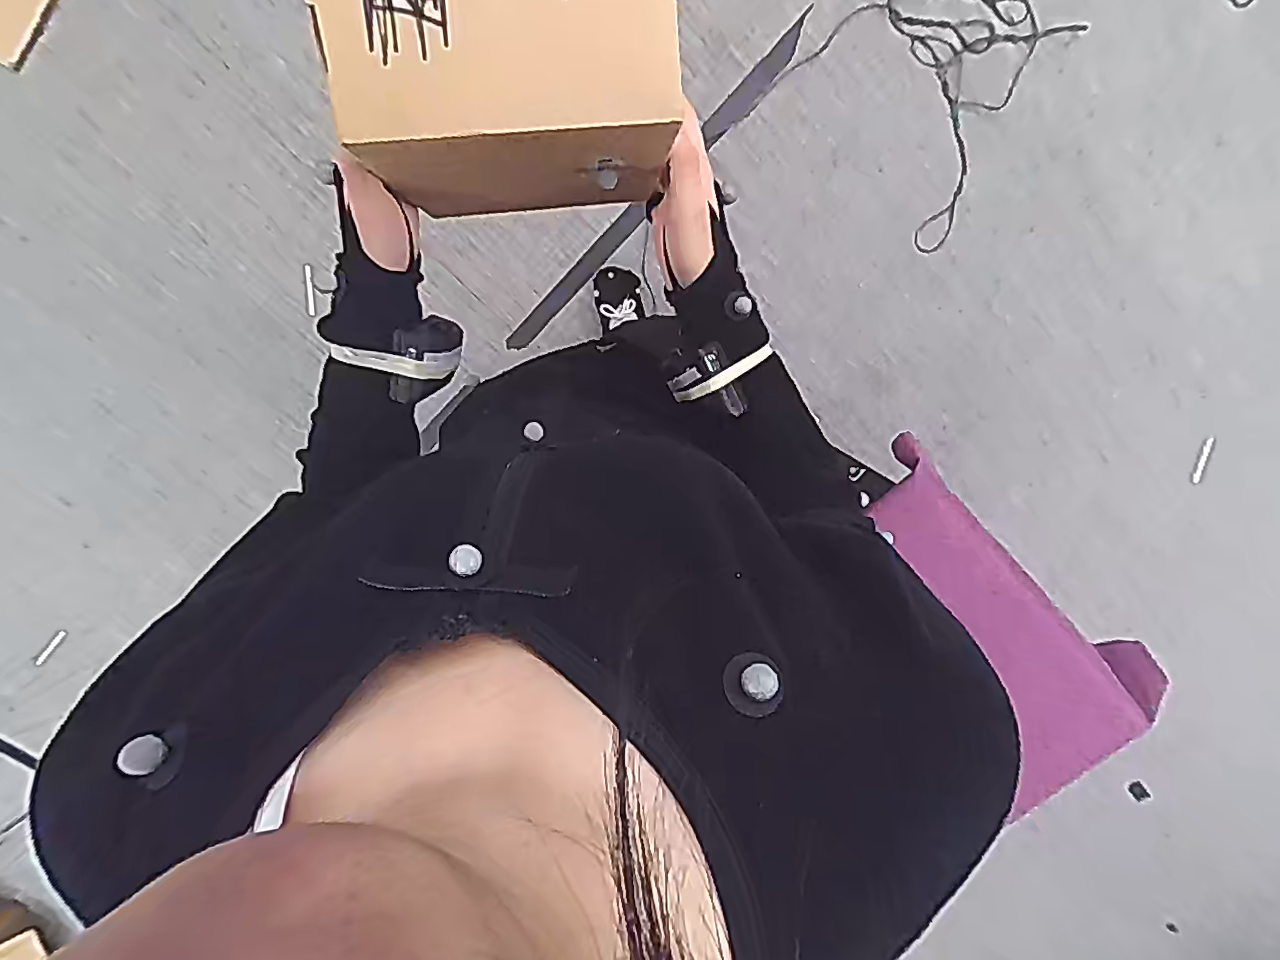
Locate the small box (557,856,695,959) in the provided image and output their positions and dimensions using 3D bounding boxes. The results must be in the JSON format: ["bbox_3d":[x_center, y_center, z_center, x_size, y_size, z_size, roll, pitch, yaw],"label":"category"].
[{"bbox_3d":[-0.019,0.775,0.890,0.168,0.176,0.179,-42,103,9],"label":"small box"}]
